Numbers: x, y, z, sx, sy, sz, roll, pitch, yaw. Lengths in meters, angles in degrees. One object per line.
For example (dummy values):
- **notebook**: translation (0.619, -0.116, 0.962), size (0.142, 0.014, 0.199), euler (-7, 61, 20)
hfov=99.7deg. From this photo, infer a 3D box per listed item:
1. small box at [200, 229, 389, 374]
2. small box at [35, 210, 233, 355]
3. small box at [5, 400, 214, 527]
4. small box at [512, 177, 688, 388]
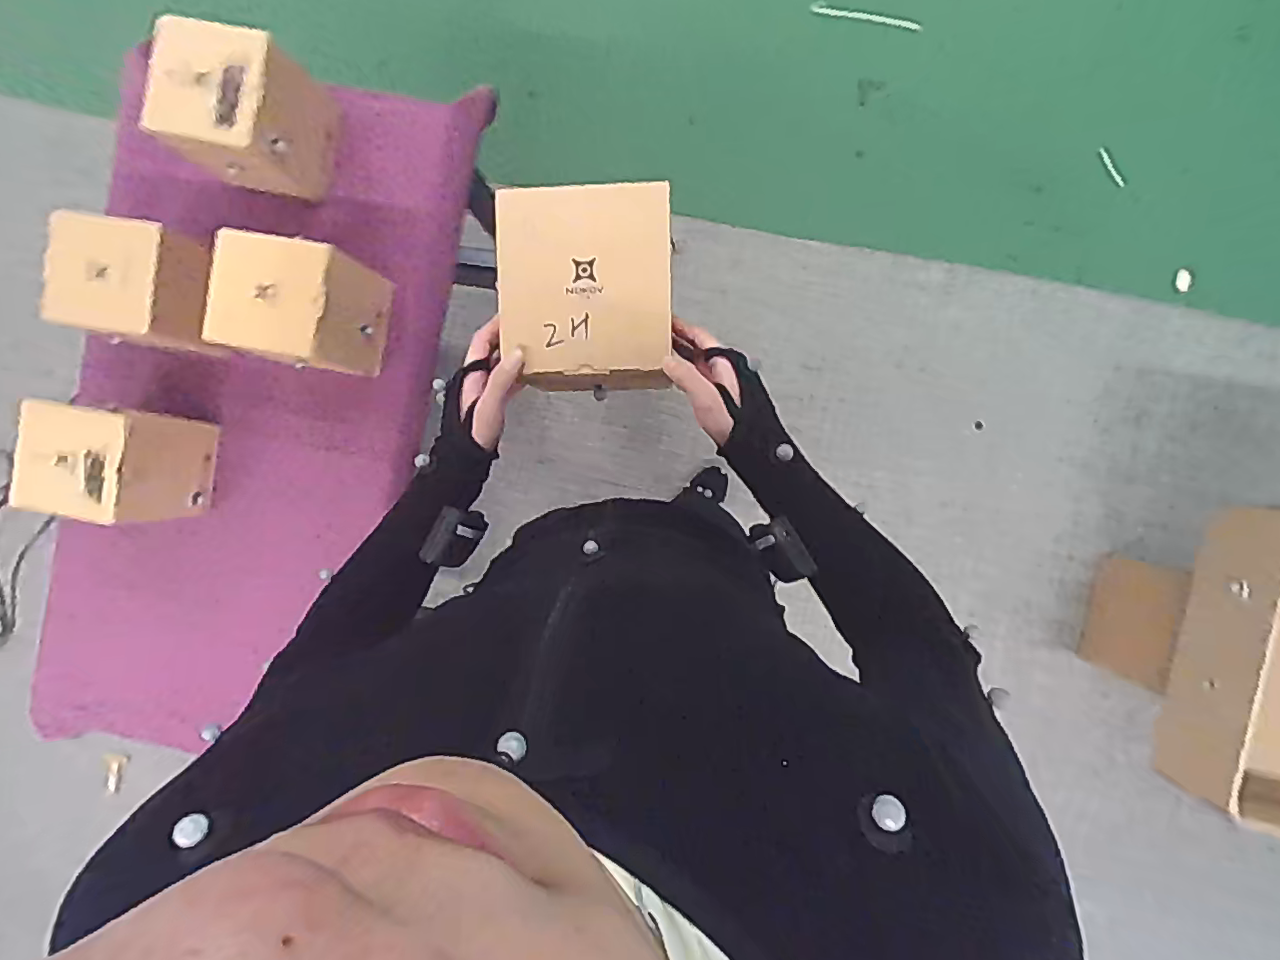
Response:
- **small box**: translation (-0.535, -0.271, 0.858), size (0.179, 0.176, 0.168), euler (10, 92, 4)
- **small box**: translation (-0.796, -0.307, 0.875), size (0.179, 0.176, 0.168), euler (9, 93, 2)
- **small box**: translation (-0.849, -0.028, 0.883), size (0.179, 0.176, 0.168), euler (10, 92, 4)
- **small box**: translation (-0.035, -0.198, 0.585), size (0.168, 0.176, 0.179), euler (0, 94, 3)
